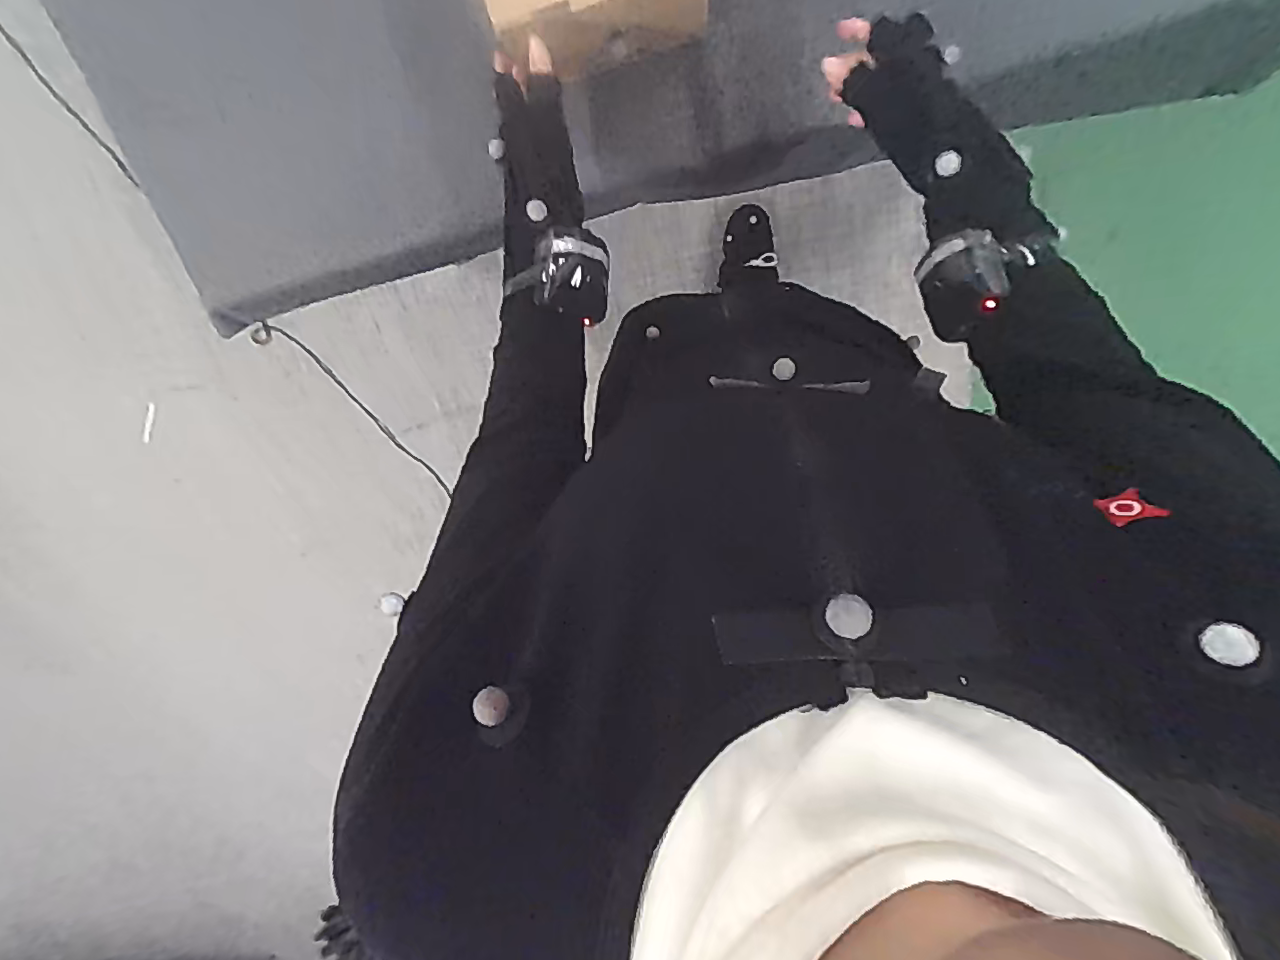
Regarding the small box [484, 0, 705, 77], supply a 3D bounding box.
[{"bbox_3d":[-0.043,-0.454,0.430,0.168,0.176,0.179,-11,113,11],"label":"small box"}]
